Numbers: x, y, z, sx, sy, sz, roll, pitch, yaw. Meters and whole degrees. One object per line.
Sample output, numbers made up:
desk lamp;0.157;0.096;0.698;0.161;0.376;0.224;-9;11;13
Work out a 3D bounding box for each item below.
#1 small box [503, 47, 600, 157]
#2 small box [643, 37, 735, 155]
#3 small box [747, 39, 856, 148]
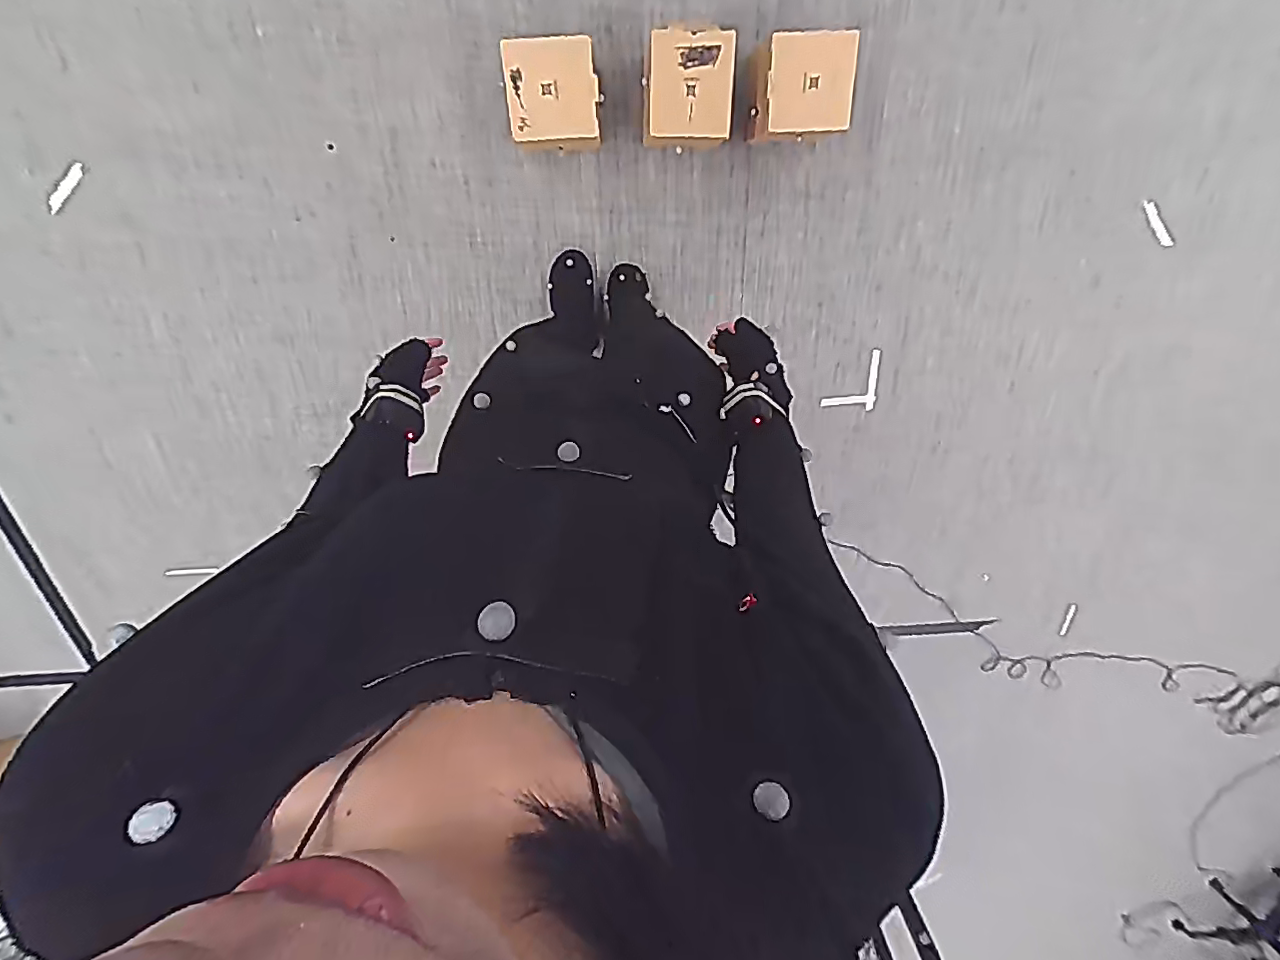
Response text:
small box;-0.178;-0.781;1.128;0.179;0.176;0.168;-5;116;-3
small box;0.095;-0.799;1.140;0.168;0.176;0.179;-1;116;-4
small box;0.333;-0.815;1.154;0.179;0.176;0.168;-5;117;-3
